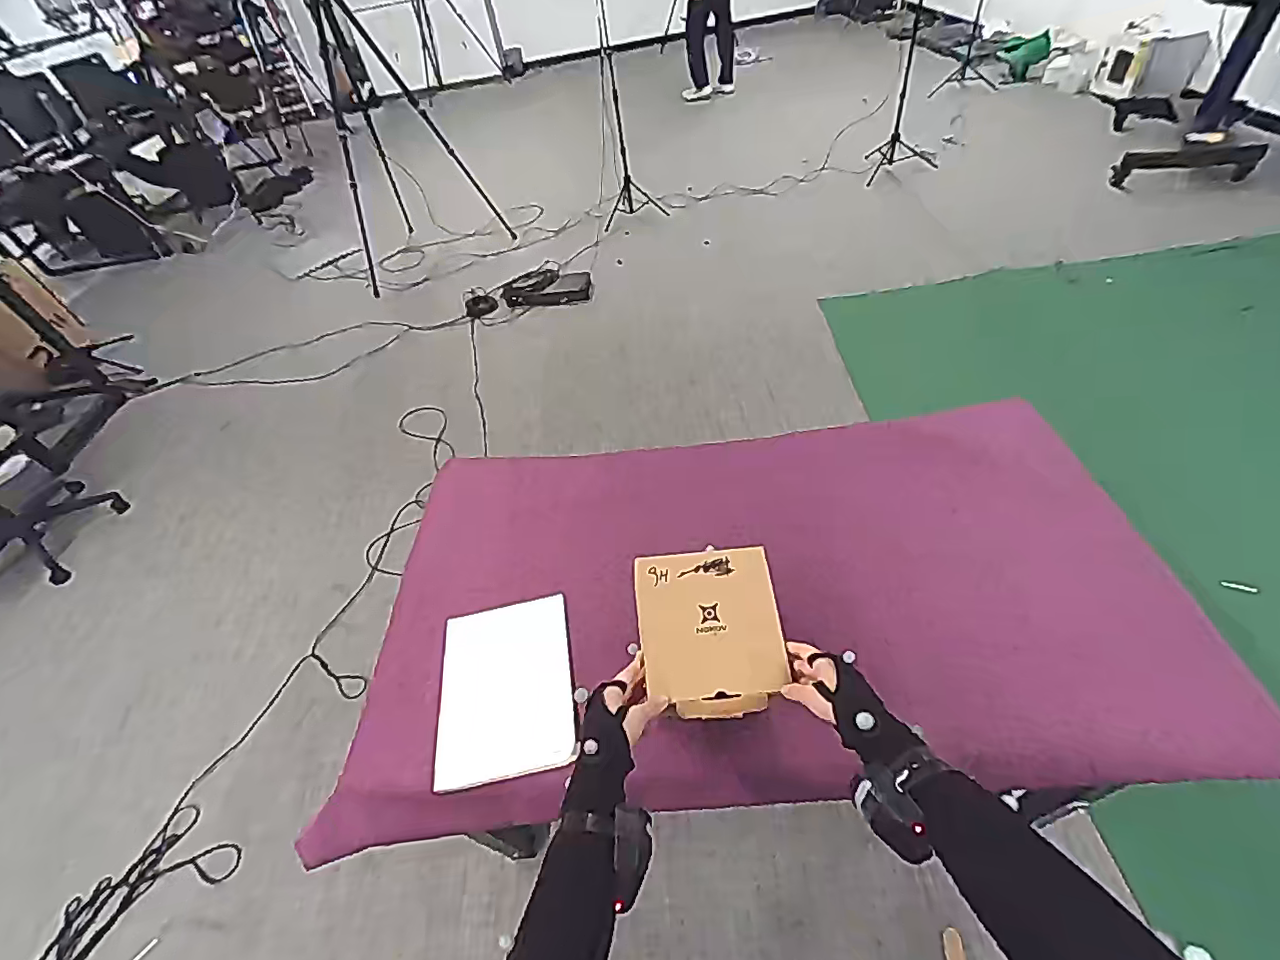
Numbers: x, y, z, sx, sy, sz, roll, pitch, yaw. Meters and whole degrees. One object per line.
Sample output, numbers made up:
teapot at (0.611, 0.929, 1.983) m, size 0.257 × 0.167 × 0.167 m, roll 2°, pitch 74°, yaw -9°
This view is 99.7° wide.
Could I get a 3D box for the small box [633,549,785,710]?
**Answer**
small box at (0.080, 0.205, 0.715) m, size 0.168 × 0.176 × 0.179 m, roll -4°, pitch 63°, yaw -2°
